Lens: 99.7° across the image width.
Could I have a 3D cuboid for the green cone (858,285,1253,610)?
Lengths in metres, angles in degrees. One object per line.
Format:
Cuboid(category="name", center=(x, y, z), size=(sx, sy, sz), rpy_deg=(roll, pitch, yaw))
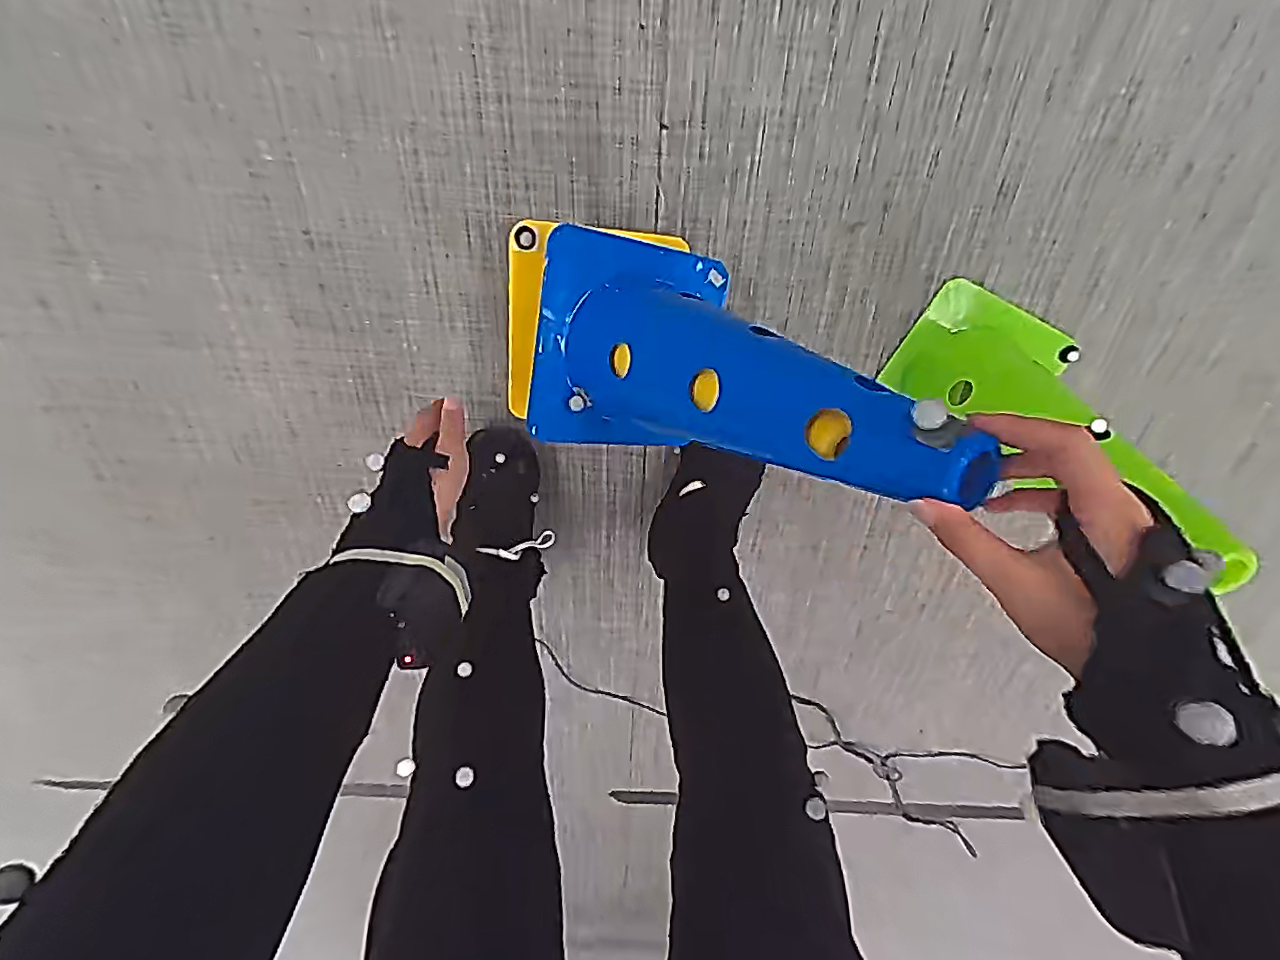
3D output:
Cuboid(category="green cone", center=(0.397, -0.023, 0.517), size=(0.200, 0.368, 0.202), rpy_deg=(21, 120, -12))
